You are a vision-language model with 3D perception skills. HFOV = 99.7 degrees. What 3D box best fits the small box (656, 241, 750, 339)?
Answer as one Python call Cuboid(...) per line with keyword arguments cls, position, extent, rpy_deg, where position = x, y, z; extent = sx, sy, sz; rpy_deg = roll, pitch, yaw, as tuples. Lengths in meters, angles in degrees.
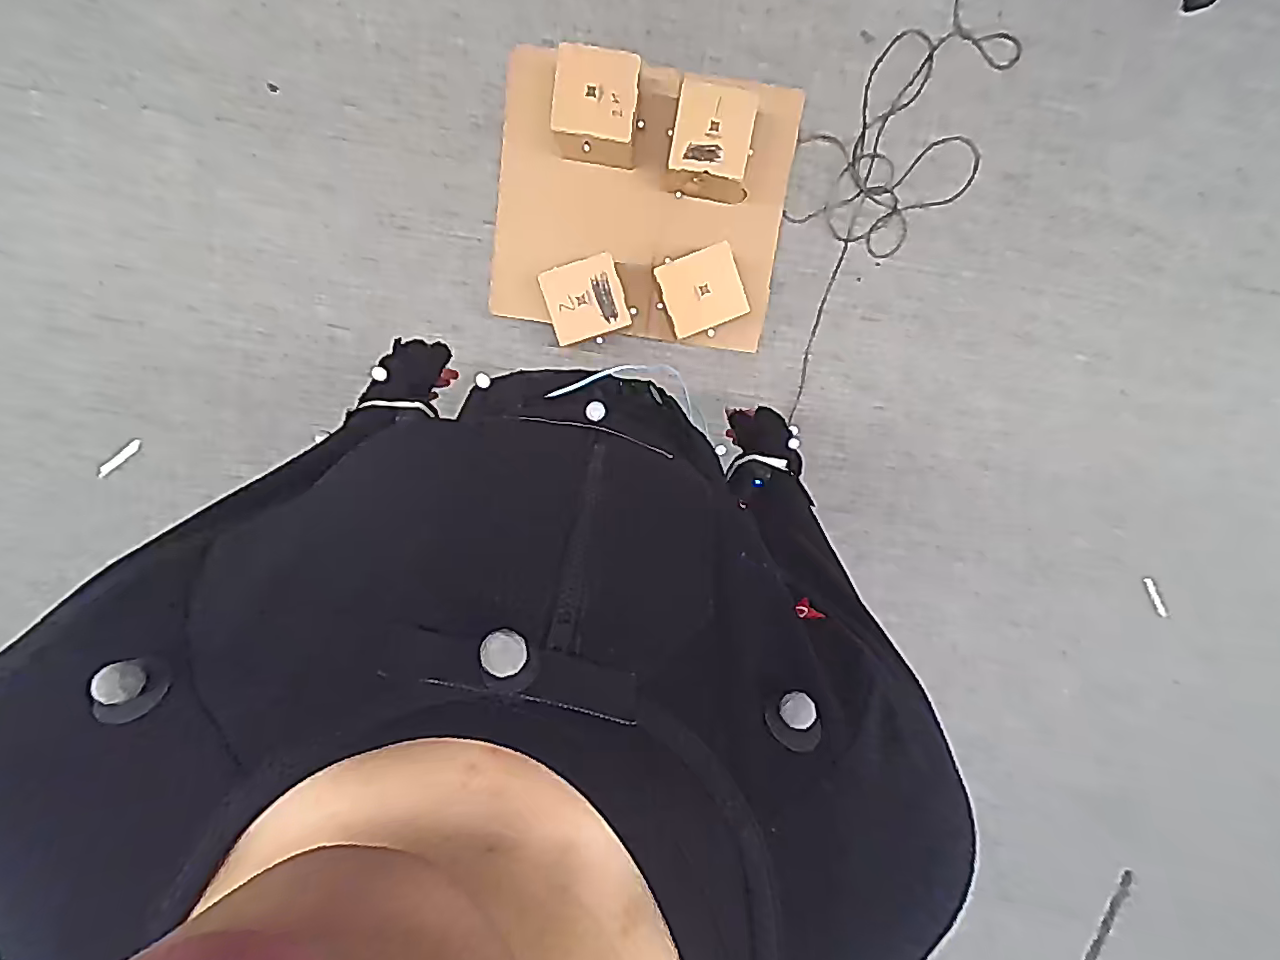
Cuboid(cls="small box", position=(0.143, -0.446, 1.295), extent=(0.179, 0.176, 0.168), rpy_deg=(-20, 101, 6))
